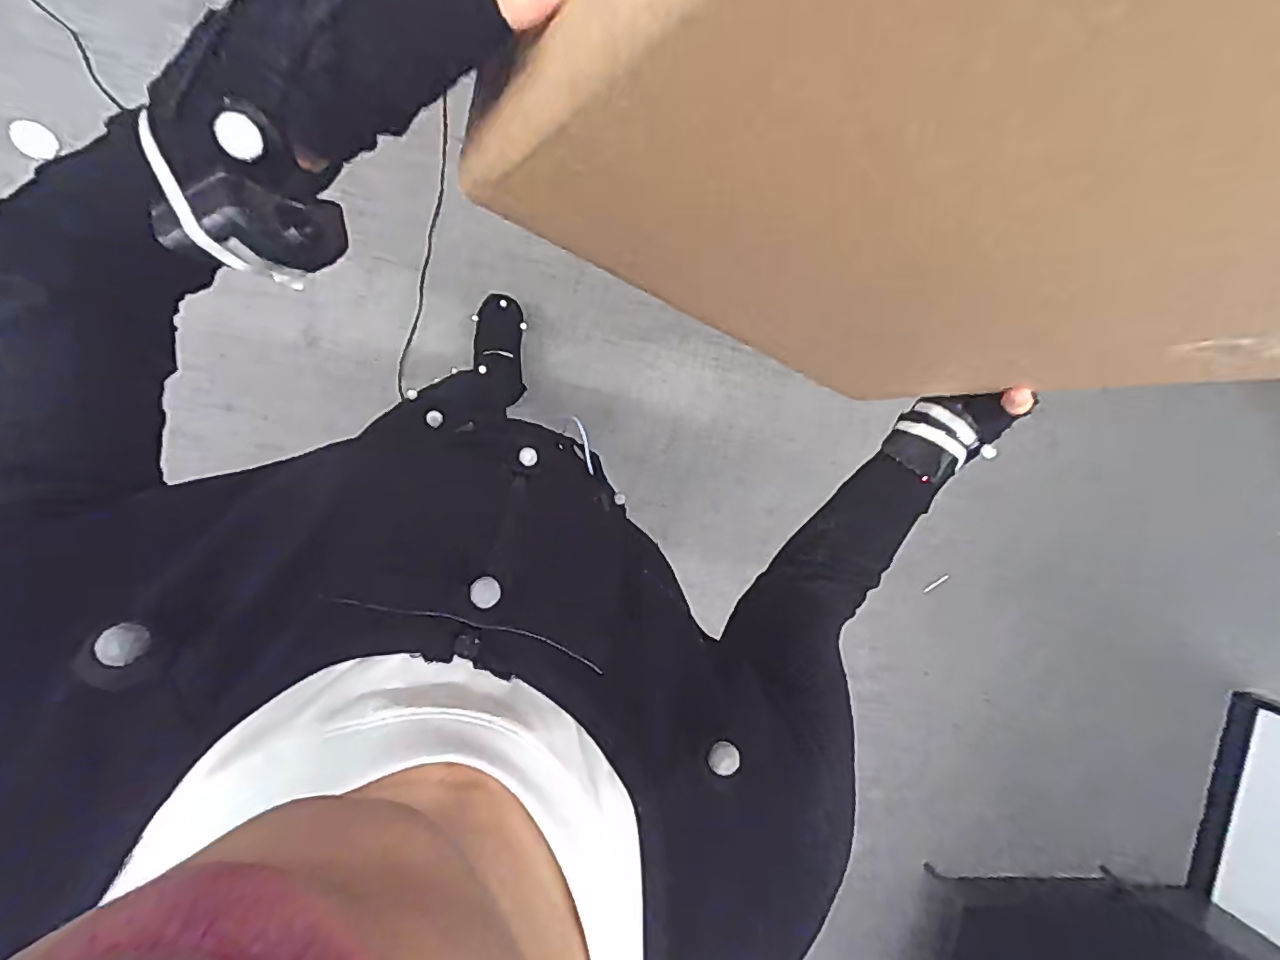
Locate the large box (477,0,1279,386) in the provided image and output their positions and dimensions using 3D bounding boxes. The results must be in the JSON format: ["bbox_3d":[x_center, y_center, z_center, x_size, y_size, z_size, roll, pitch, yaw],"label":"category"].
[{"bbox_3d":[0.177,-0.261,0.300,0.408,0.320,0.320,13,86,-40],"label":"large box"}]
